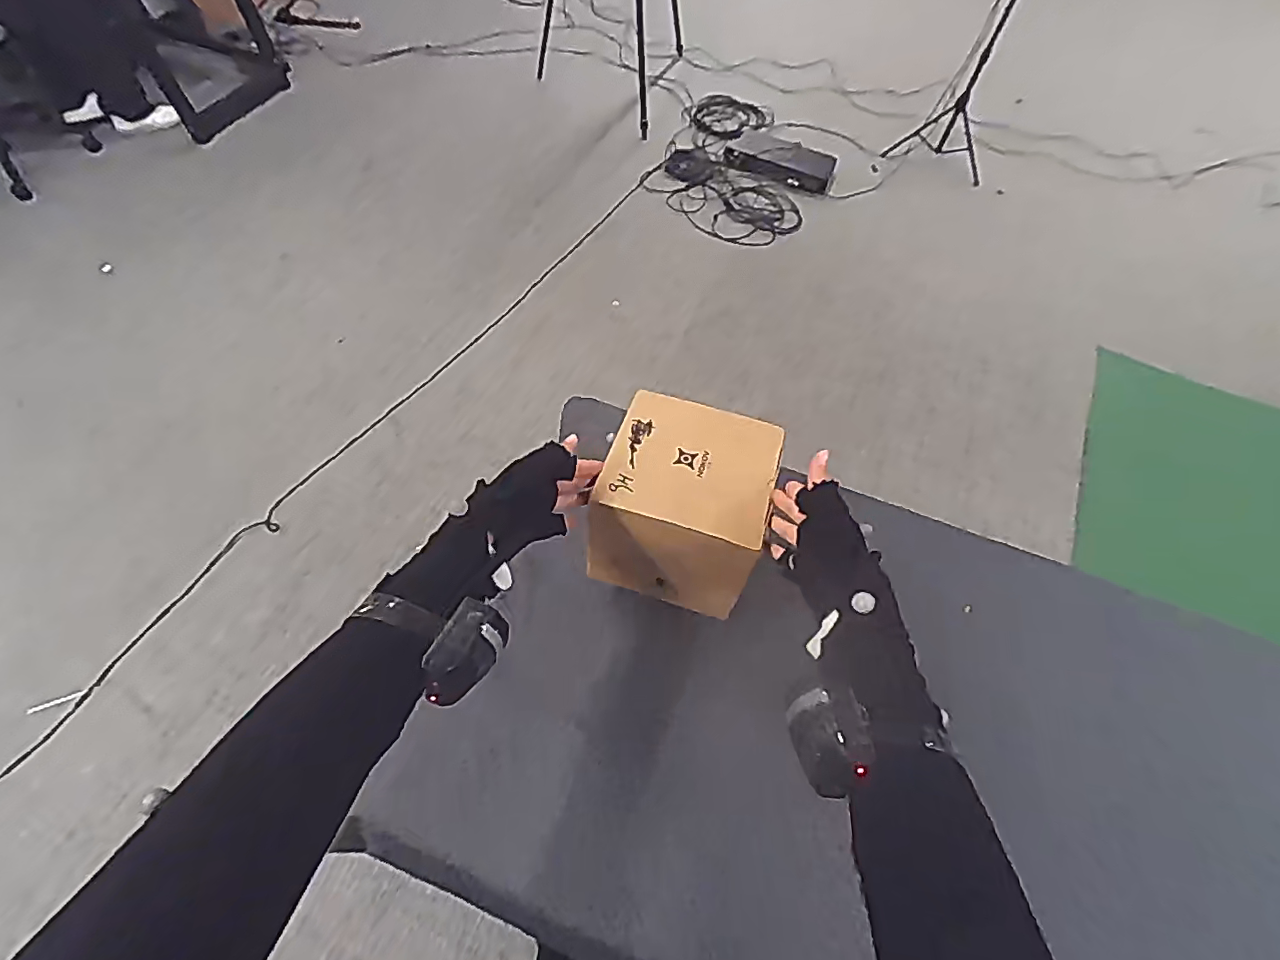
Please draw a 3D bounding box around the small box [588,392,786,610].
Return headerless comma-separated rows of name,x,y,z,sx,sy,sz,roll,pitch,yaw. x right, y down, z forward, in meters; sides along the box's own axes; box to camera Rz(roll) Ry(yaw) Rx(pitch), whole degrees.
small box,0.048,0.032,0.628,0.179,0.176,0.168,17,54,6
